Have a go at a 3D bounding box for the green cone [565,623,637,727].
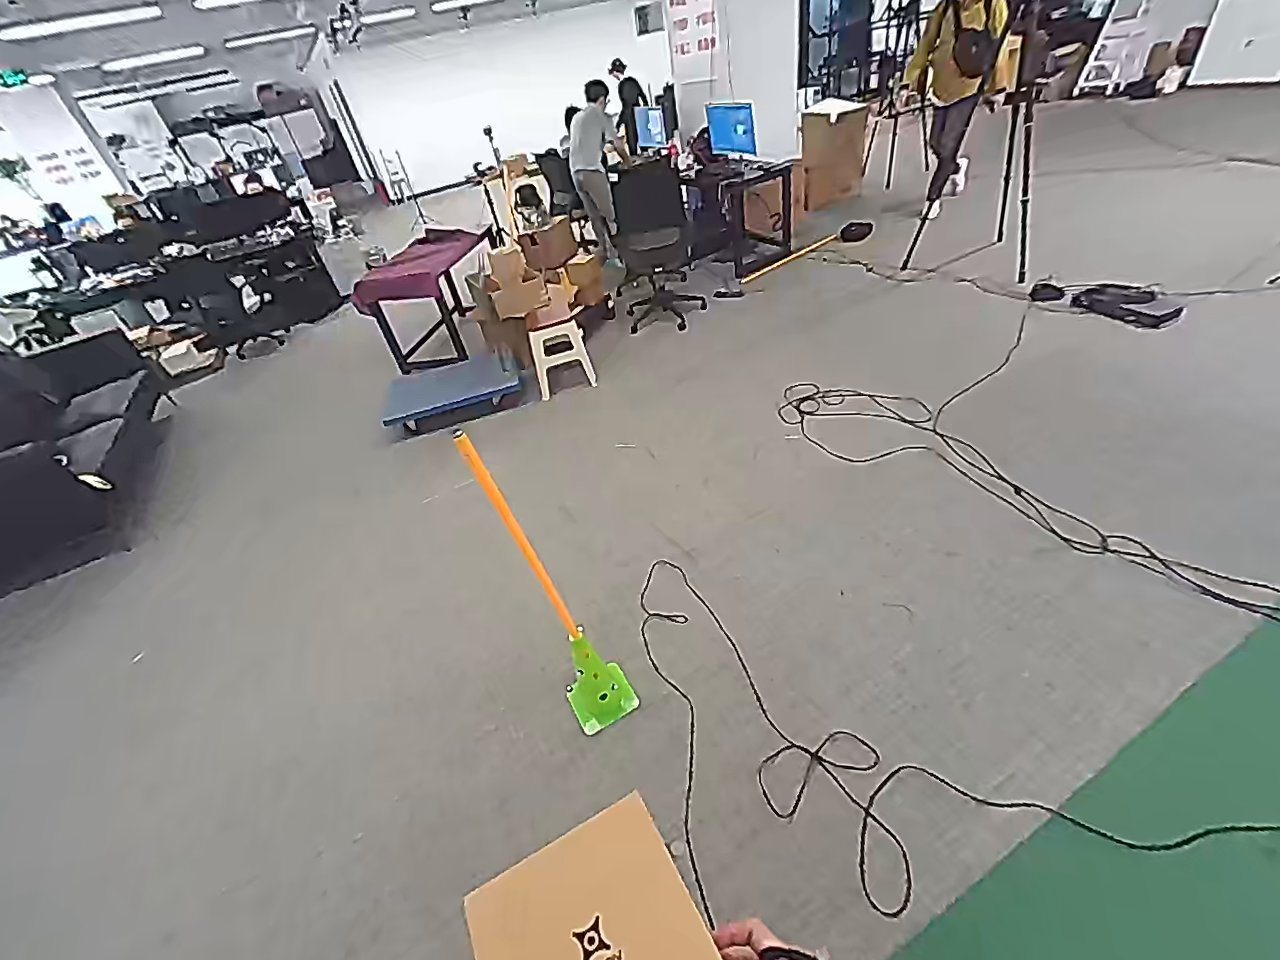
[{"bbox_3d":[-0.160,0.585,1.728,0.202,0.368,0.200,-25,41,-17],"label":"green cone"}]
